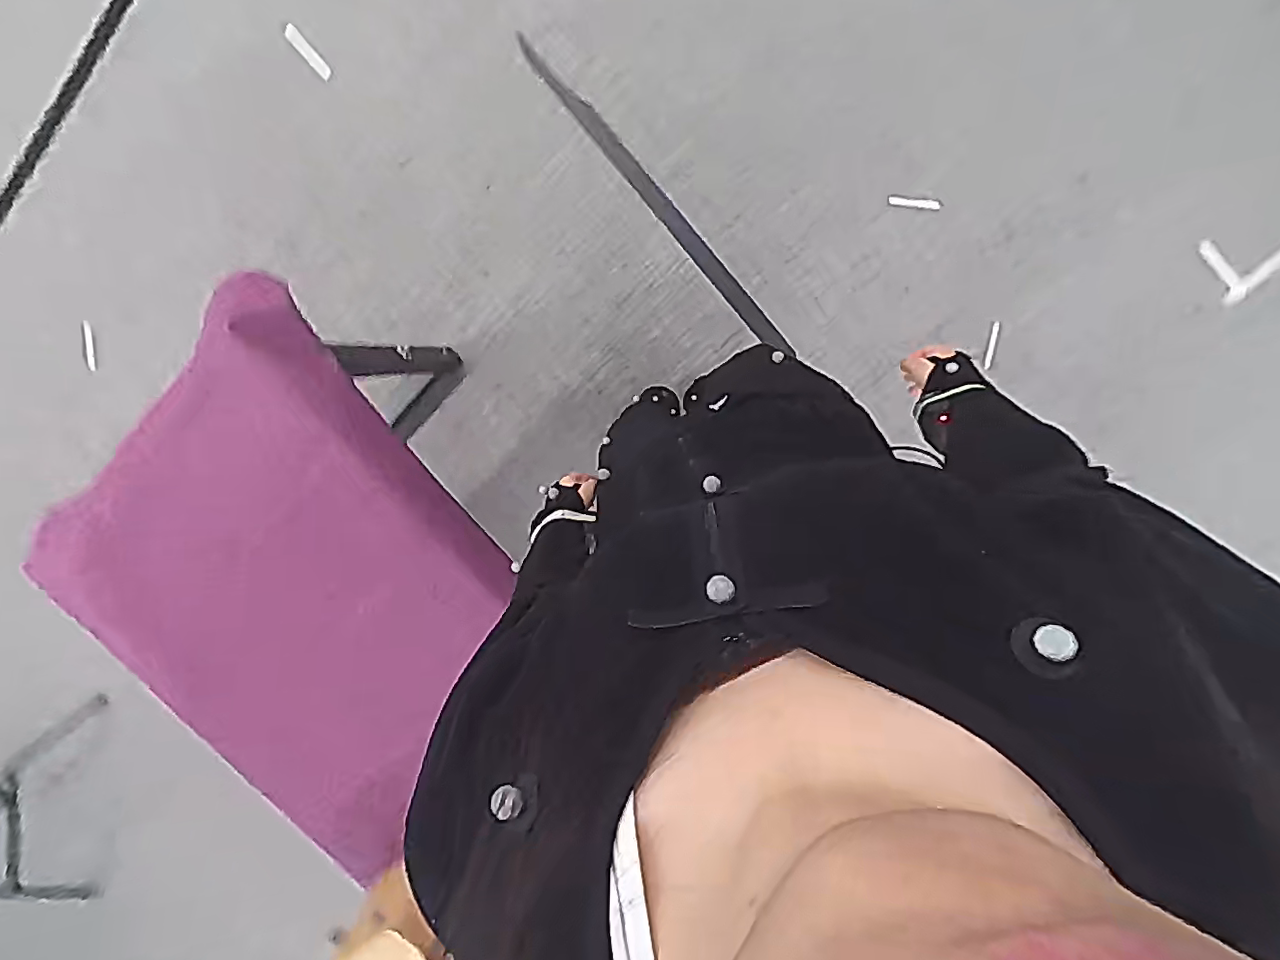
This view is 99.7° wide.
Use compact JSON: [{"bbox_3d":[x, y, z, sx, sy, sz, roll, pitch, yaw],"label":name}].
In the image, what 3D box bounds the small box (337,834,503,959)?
[{"bbox_3d":[-0.349,0.737,0.890,0.179,0.176,0.168,-39,95,13],"label":"small box"}]
